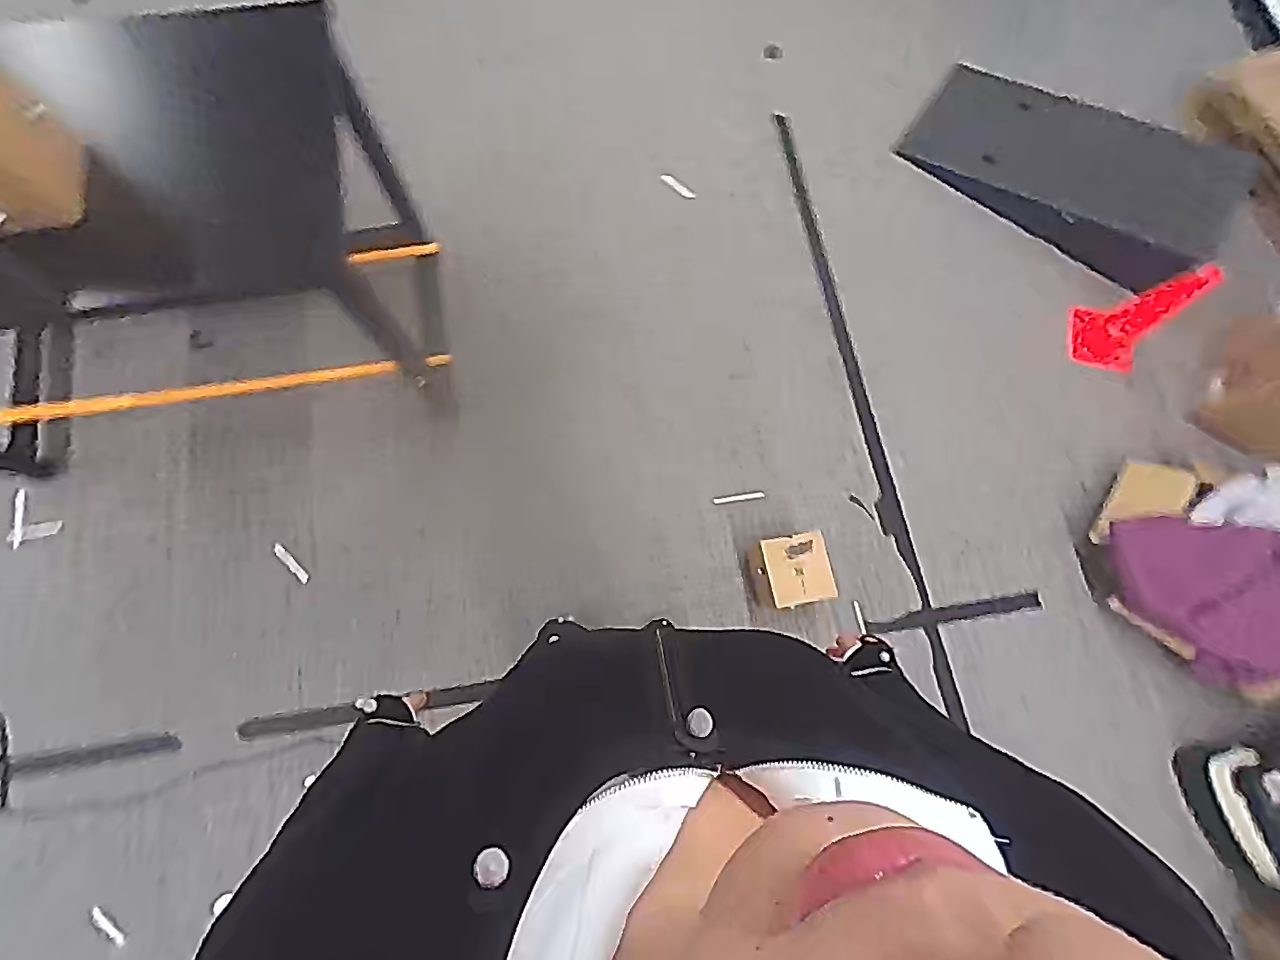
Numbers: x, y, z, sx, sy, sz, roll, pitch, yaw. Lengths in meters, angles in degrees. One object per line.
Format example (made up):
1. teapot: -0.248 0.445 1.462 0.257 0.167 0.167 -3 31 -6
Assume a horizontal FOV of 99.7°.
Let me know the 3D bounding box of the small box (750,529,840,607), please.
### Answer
1. small box: 0.408 0.242 1.458 0.168 0.176 0.179 -10 78 -4

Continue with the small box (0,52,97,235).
1. small box: -1.010 -0.519 0.845 0.168 0.176 0.179 -11 78 -3
